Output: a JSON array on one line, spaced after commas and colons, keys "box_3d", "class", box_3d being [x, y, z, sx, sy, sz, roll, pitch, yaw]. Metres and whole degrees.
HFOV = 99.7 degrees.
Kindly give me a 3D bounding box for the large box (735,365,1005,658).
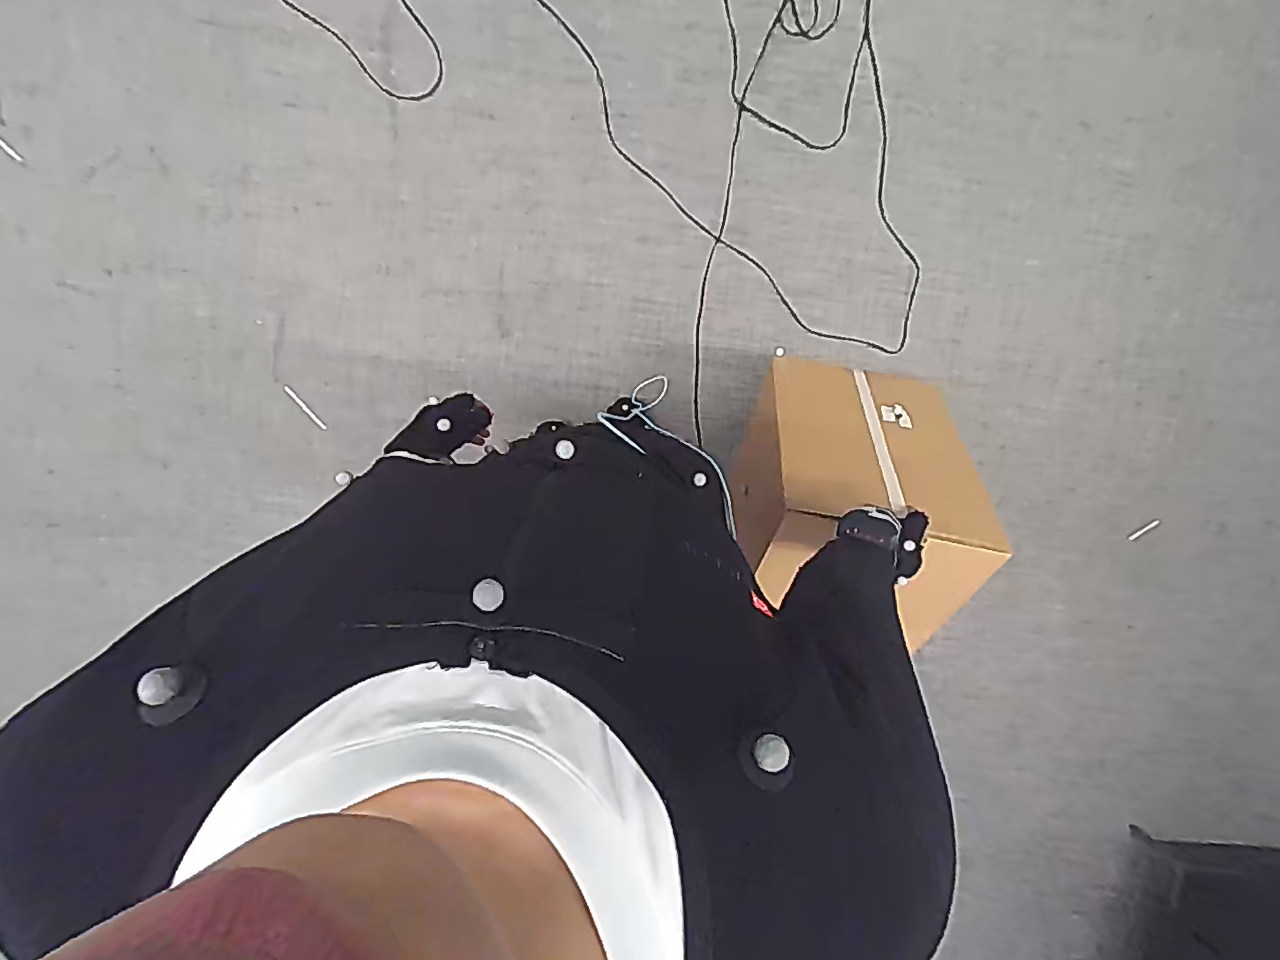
[{"box_3d": [0.356, 0.050, 0.976, 0.320, 0.408, 0.320, 11, 133, 1], "class": "large box"}]
